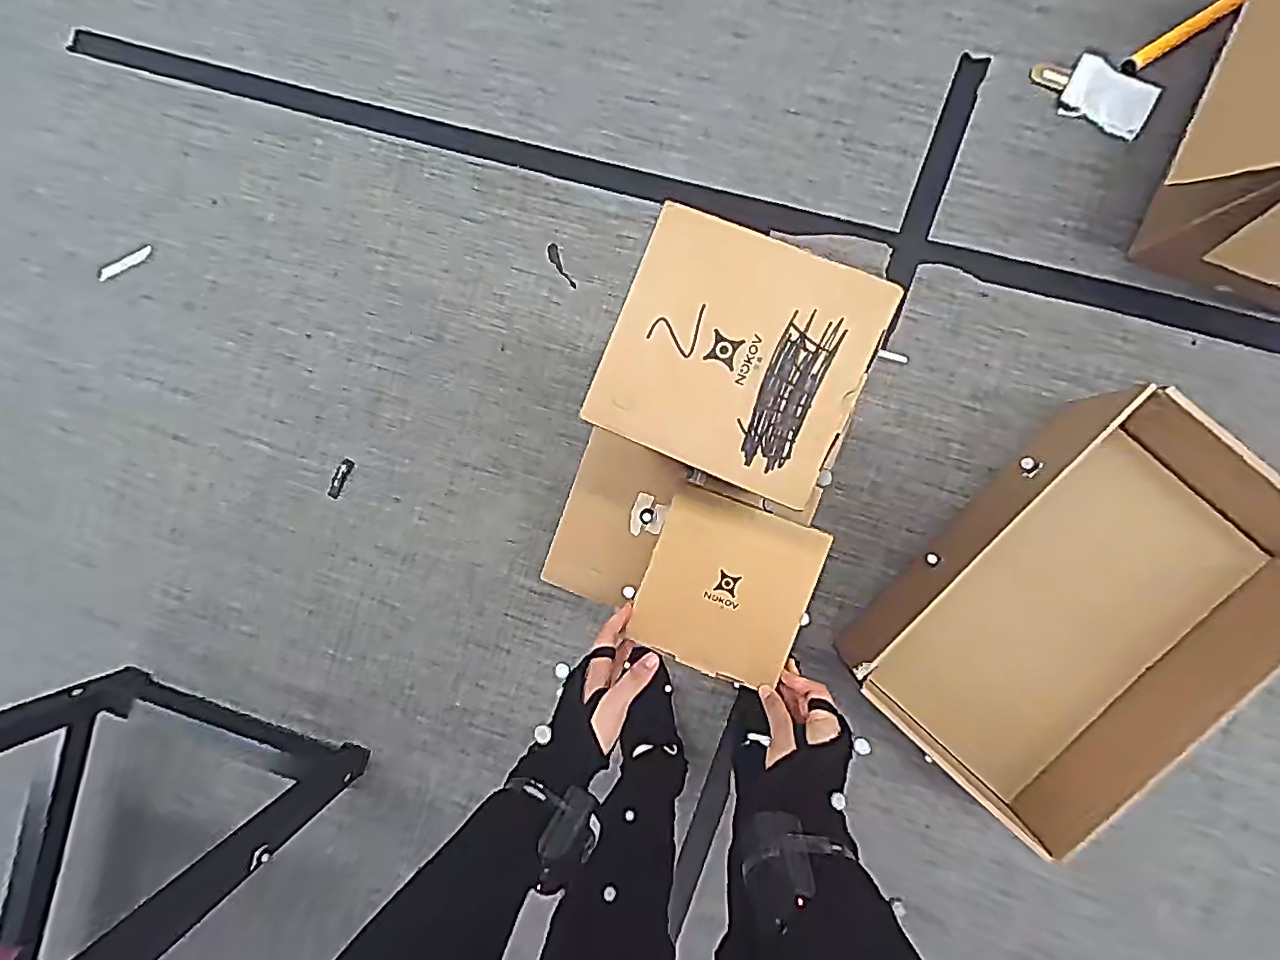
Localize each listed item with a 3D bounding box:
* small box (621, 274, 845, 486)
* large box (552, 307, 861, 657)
[{"bbox_3d":[0.099,-0.102,0.615,0.179,0.176,0.168,23,96,5],"label":"small box"},{"bbox_3d":[0.098,-0.006,0.865,0.320,0.320,0.408,20,95,7],"label":"large box"}]
